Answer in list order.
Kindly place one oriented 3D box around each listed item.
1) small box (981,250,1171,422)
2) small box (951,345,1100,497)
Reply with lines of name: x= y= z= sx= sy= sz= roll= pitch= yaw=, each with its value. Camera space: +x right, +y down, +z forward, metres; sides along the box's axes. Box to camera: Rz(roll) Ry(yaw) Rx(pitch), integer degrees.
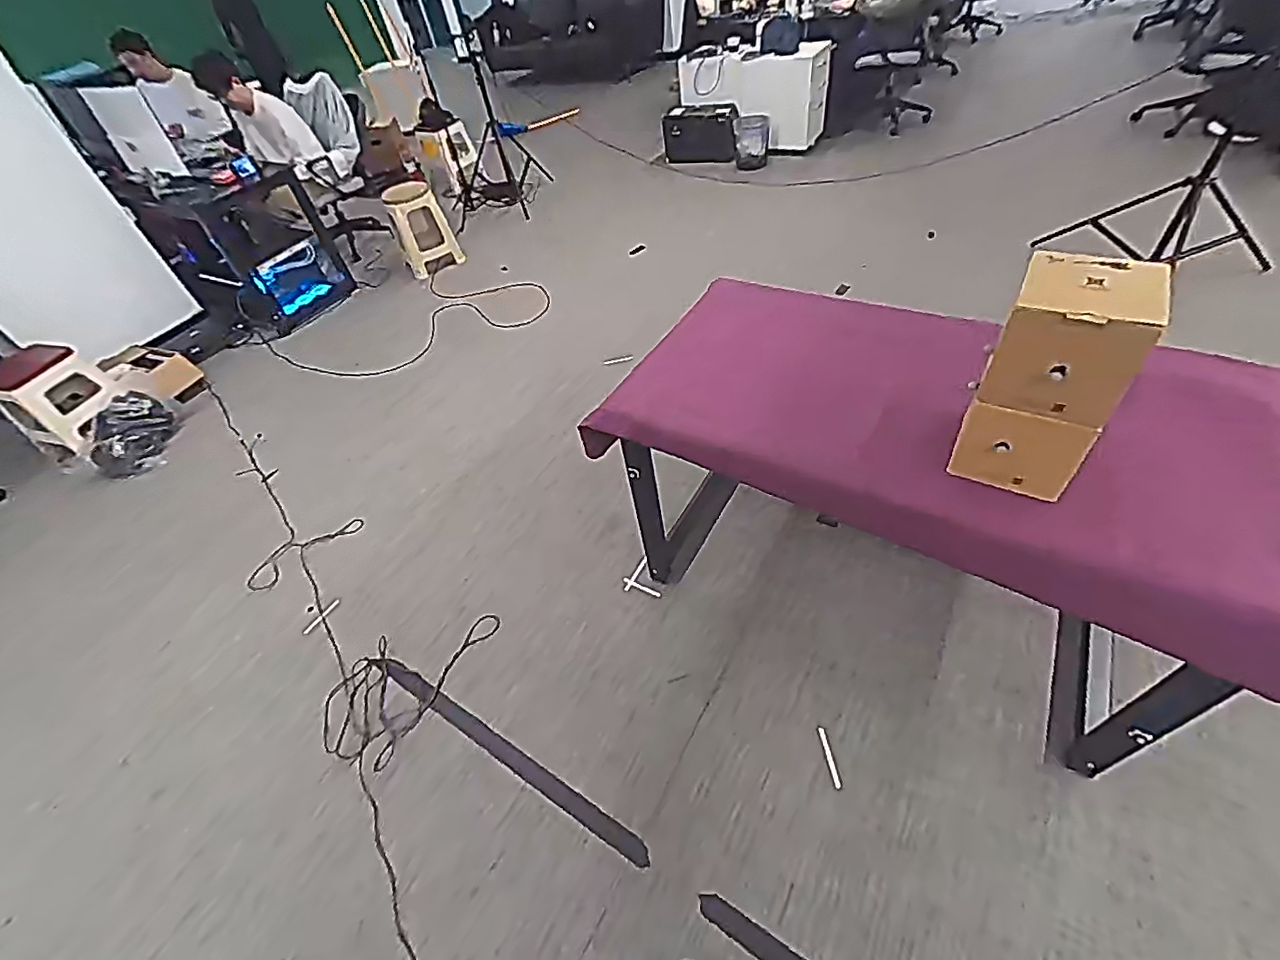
small box: x=0.631 y=-0.212 z=0.799 sx=0.168 sy=0.176 sz=0.179 roll=21 pitch=55 yaw=27
small box: x=0.650 y=-0.099 z=0.917 sx=0.168 sy=0.176 sz=0.179 roll=20 pitch=54 yaw=26
